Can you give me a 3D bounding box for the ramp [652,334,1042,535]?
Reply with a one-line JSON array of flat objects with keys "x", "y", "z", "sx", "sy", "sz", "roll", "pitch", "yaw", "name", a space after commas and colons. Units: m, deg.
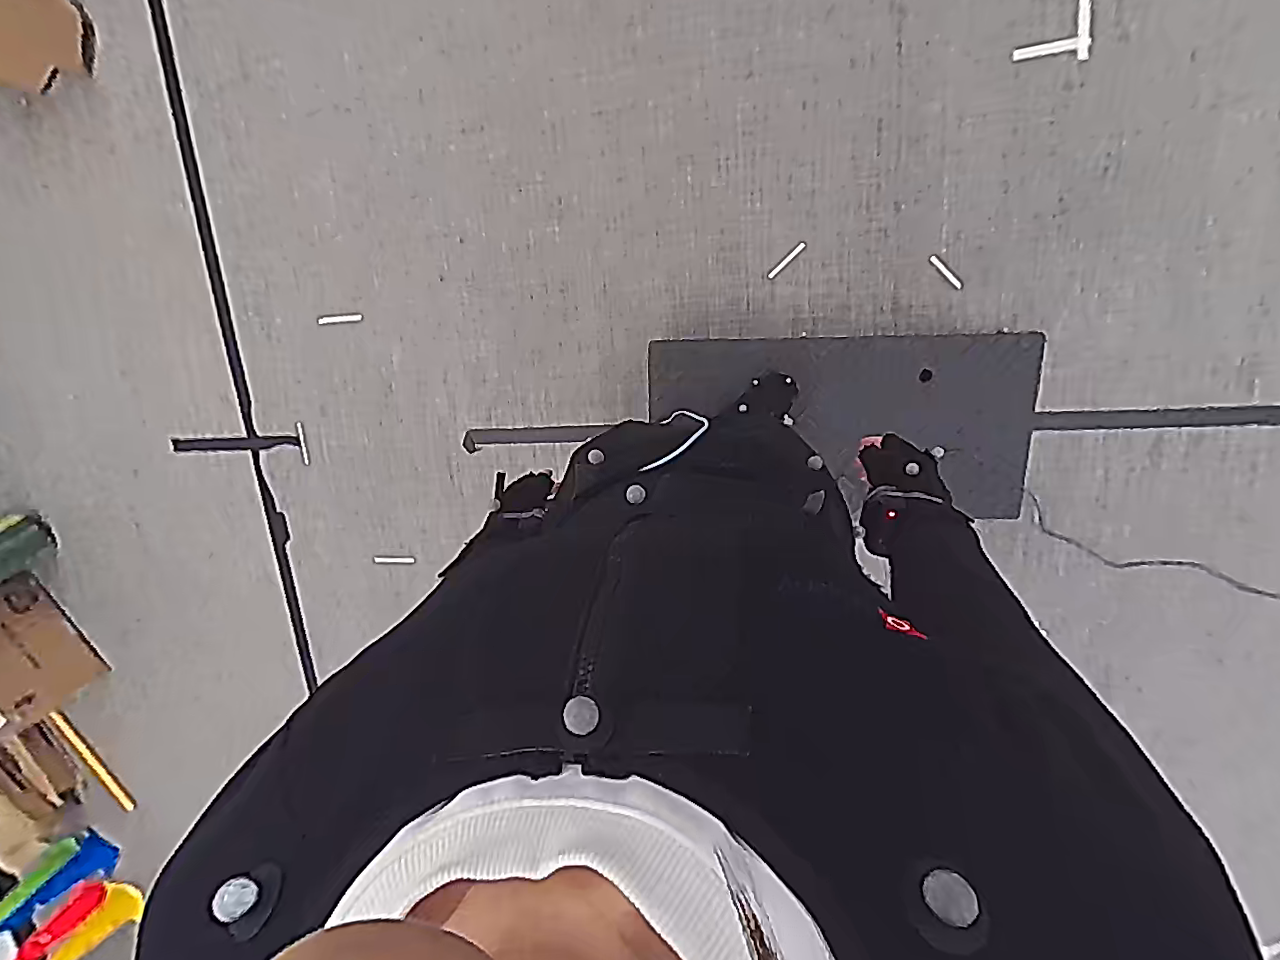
[{"x": 0.537, "y": -0.114, "z": 1.424, "sx": 0.991, "sy": 0.206, "sz": 0.509, "roll": -2, "pitch": 100, "yaw": 11, "name": "ramp"}]
